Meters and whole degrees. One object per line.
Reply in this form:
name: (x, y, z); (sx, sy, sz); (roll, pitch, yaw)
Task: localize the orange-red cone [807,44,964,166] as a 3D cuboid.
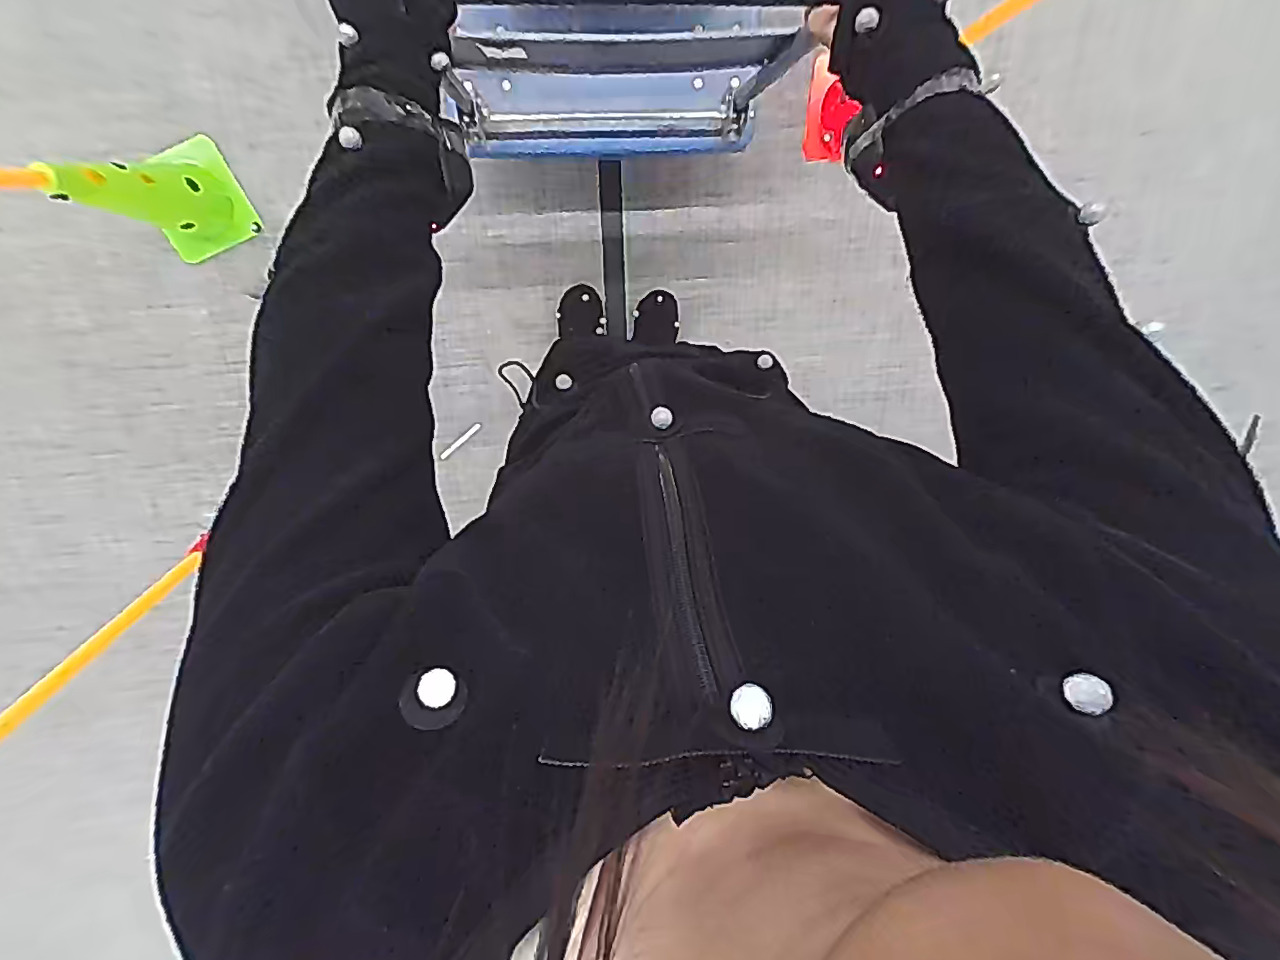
orange-red cone: (0.493, -0.749, 1.035); (0.199, 0.360, 0.198); (2, 111, -7)
